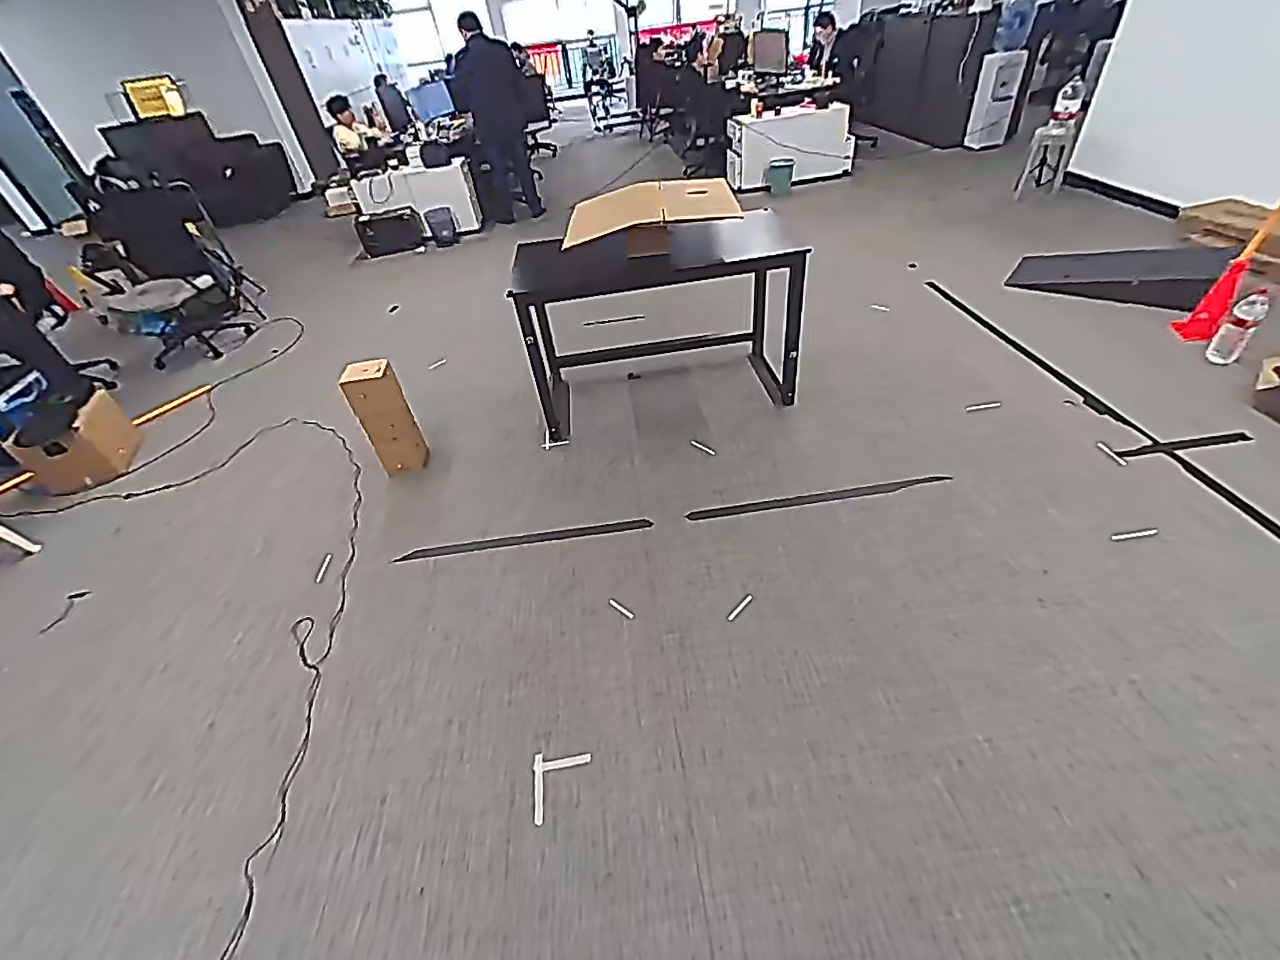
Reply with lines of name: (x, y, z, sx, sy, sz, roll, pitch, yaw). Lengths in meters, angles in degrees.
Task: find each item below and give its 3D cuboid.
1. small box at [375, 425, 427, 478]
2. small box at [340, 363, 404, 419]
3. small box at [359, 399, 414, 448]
small box: (-1.118, -0.135, 2.547, 0.168, 0.176, 0.179, -11, 42, -3)
small box: (-1.154, -0.382, 2.337, 0.179, 0.176, 0.168, -11, 41, -3)
small box: (-1.140, -0.260, 2.445, 0.168, 0.176, 0.179, -12, 39, -7)
